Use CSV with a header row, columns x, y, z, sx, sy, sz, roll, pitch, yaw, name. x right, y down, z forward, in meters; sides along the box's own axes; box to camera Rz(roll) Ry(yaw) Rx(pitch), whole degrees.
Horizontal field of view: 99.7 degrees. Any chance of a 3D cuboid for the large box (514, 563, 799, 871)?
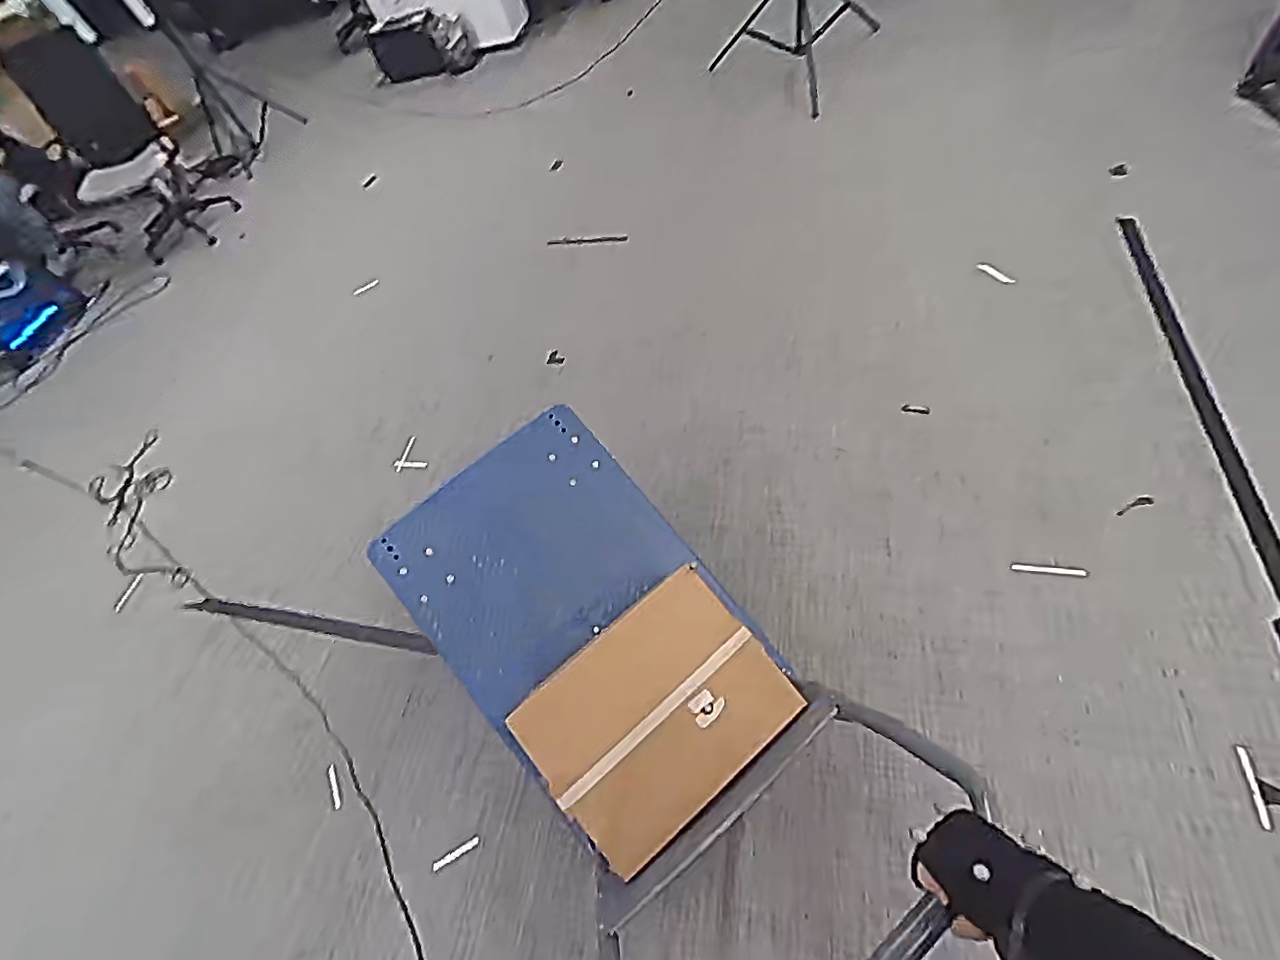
x,y,z,sx,sy,sz,roll,pitch,yaw,name
0.022,0.425,1.060,0.408,0.320,0.320,-40,82,-12,large box
